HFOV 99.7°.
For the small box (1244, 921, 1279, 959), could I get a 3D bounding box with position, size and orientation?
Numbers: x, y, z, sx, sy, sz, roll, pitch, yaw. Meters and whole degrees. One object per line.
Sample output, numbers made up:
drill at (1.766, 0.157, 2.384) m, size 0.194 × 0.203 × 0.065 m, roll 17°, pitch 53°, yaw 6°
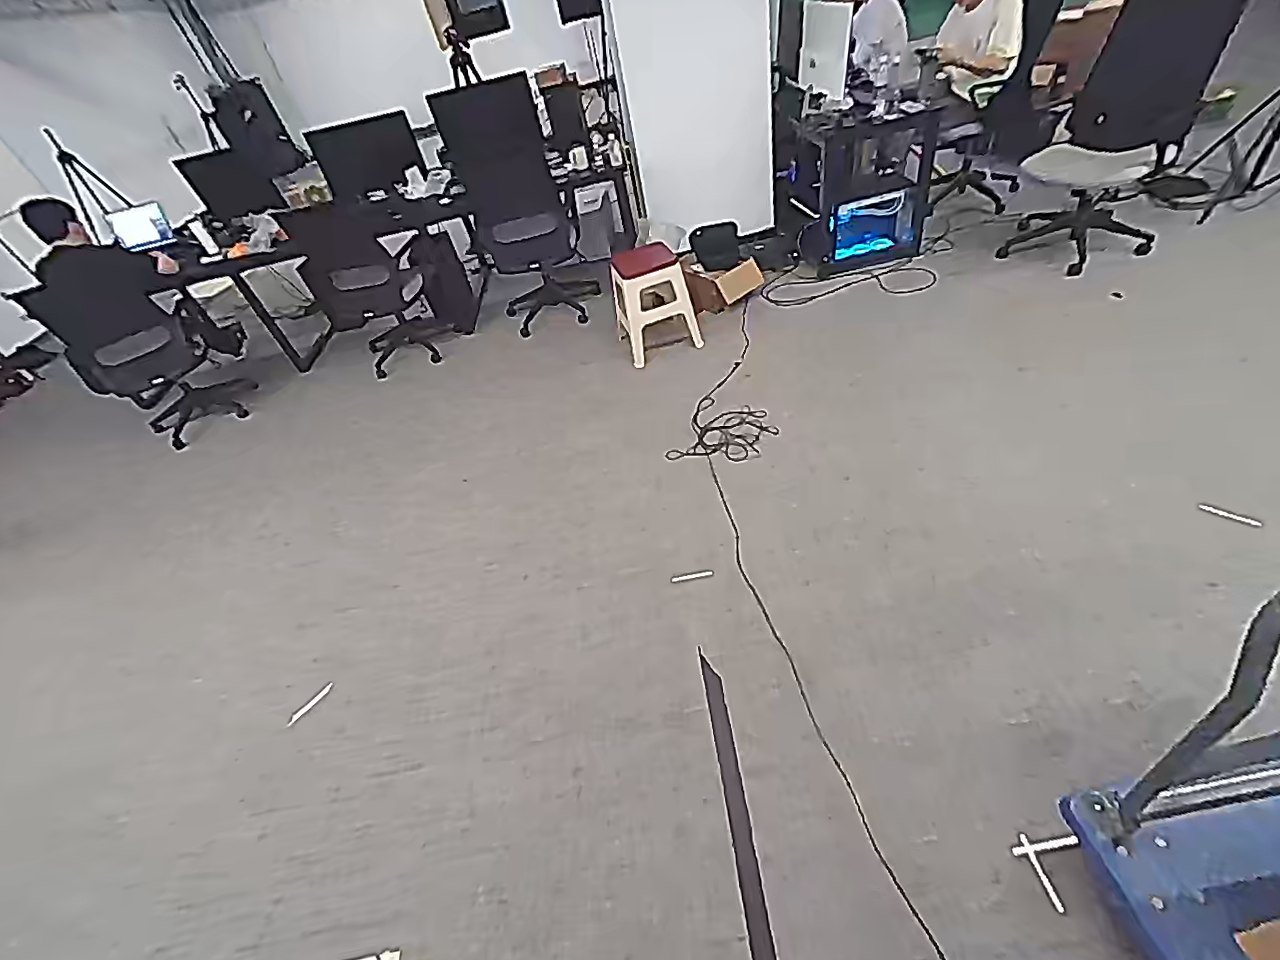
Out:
small box at (1.058, 0.723, 0.773) m, size 0.179 × 0.176 × 0.168 m, roll -16°, pitch 43°, yaw 1°
